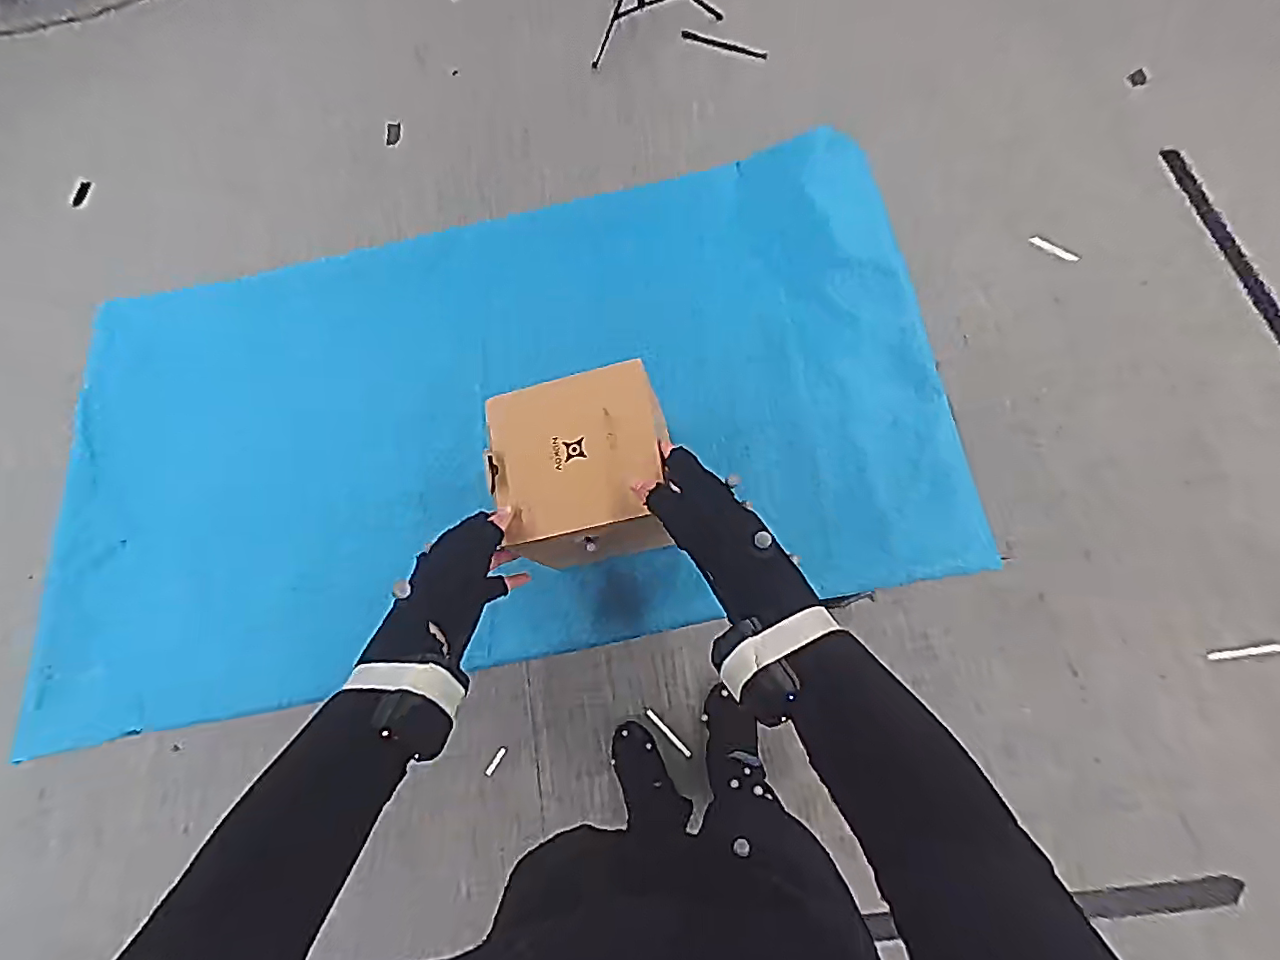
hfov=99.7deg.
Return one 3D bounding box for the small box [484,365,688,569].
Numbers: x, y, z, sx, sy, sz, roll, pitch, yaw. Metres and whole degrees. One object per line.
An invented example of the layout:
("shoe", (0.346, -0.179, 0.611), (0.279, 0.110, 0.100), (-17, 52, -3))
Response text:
("small box", (-0.054, -0.001, 0.614), (0.179, 0.176, 0.168), (-13, 72, 10))
